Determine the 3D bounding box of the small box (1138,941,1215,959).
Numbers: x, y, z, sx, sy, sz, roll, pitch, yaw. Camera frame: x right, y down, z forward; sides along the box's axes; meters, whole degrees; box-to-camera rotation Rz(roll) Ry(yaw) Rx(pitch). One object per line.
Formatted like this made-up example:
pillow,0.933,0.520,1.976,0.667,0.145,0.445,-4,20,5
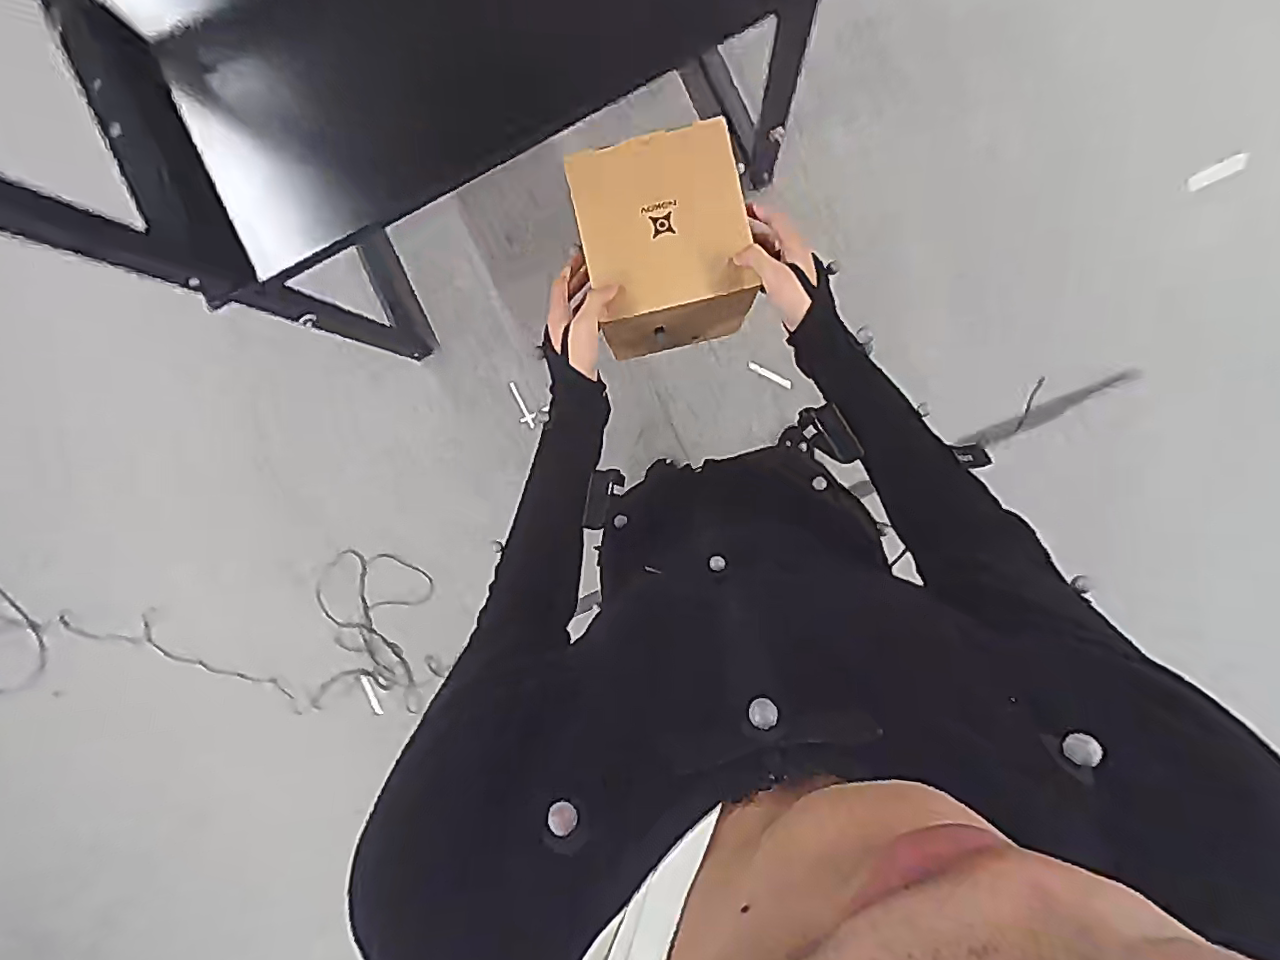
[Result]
small box,1.393,1.299,1.323,0.168,0.176,0.179,-23,90,5

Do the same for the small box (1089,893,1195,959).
small box,1.402,1.299,1.488,0.168,0.176,0.179,-23,91,5
